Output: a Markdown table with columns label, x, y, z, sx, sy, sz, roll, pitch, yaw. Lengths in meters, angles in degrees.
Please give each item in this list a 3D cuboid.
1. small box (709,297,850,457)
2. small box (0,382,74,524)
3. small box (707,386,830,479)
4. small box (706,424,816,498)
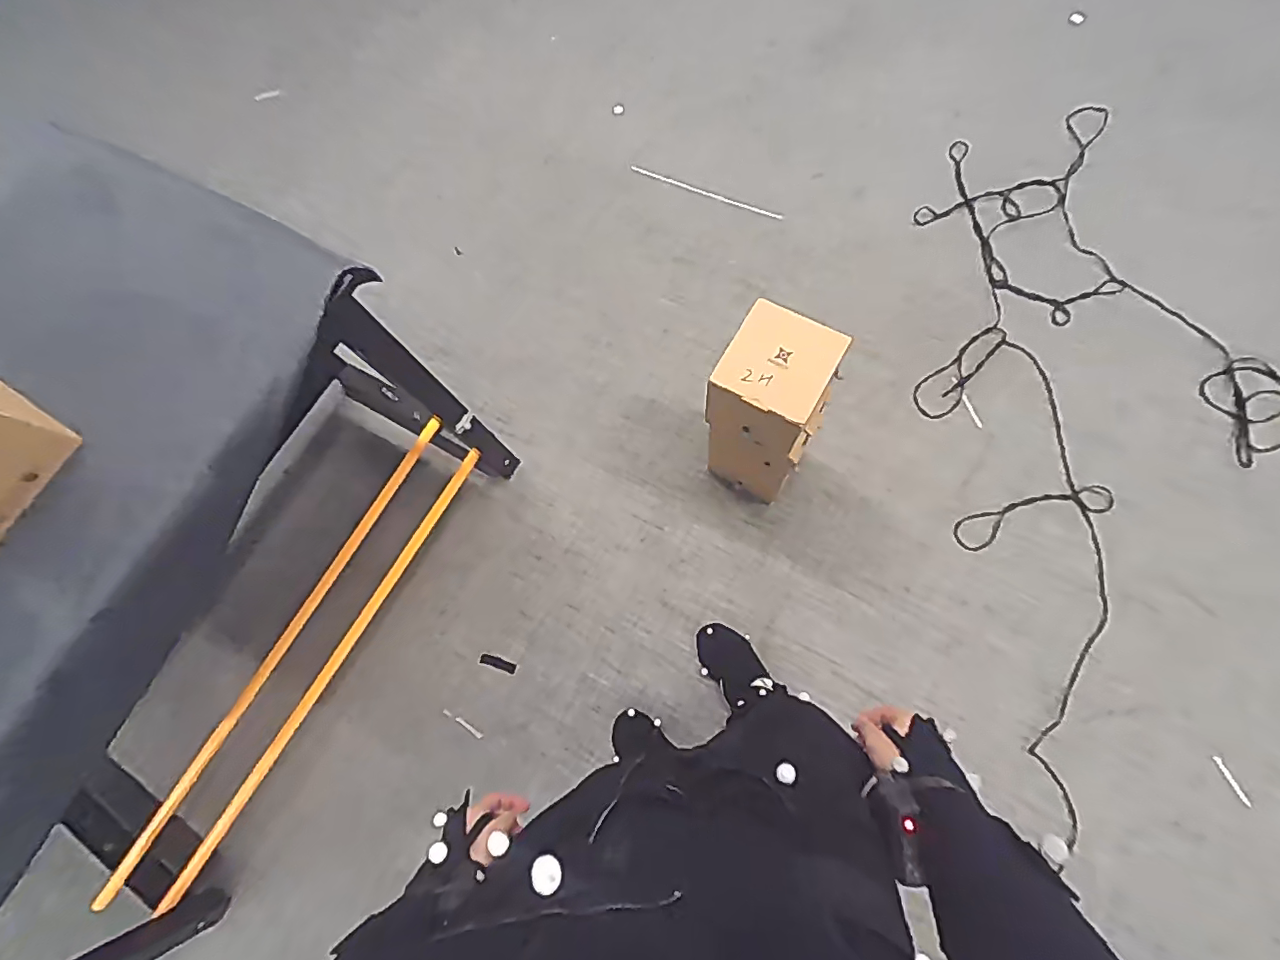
| label | x | y | z | sx | sy | sz | roll | pitch | yaw |
| --- | --- | --- | --- | --- | --- | --- | --- | --- | --- |
| small box | 0.226 | -0.168 | 0.925 | 0.168 | 0.176 | 0.179 | 29 | 78 | 13 |
| small box | -0.790 | -0.044 | 0.578 | 0.179 | 0.176 | 0.168 | 28 | 78 | 14 |
| small box | 0.248 | -0.118 | 1.080 | 0.179 | 0.176 | 0.168 | 27 | 77 | 14 |
| small box | 0.268 | -0.075 | 1.235 | 0.179 | 0.176 | 0.168 | 30 | 78 | 12 |
